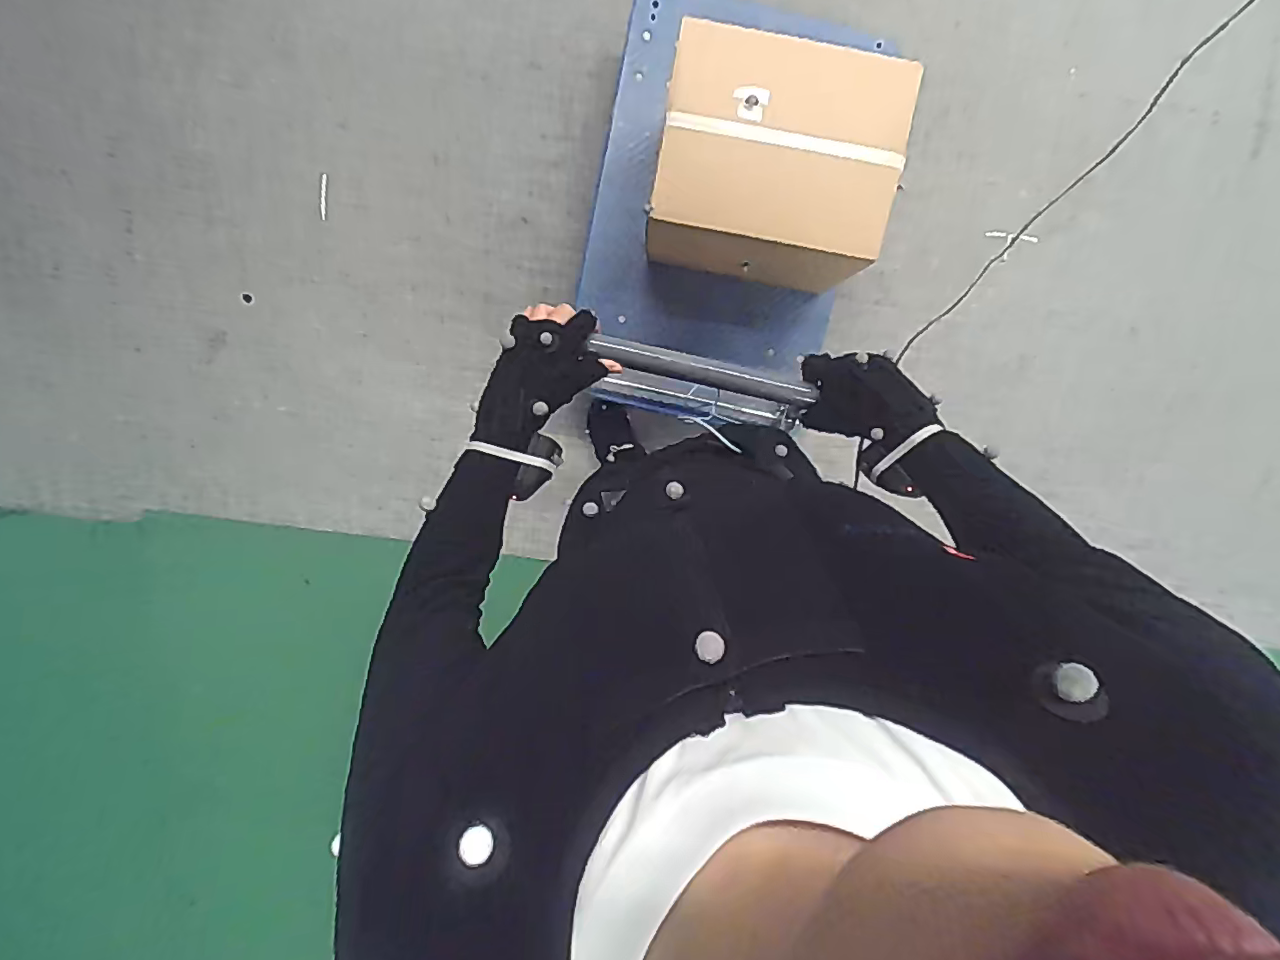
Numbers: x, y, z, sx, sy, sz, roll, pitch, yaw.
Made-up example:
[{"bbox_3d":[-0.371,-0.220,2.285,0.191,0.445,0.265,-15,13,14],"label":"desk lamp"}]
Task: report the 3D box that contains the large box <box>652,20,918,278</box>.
[{"bbox_3d":[0.245,-0.603,1.056,0.408,0.320,0.320,10,99,0],"label":"large box"}]
